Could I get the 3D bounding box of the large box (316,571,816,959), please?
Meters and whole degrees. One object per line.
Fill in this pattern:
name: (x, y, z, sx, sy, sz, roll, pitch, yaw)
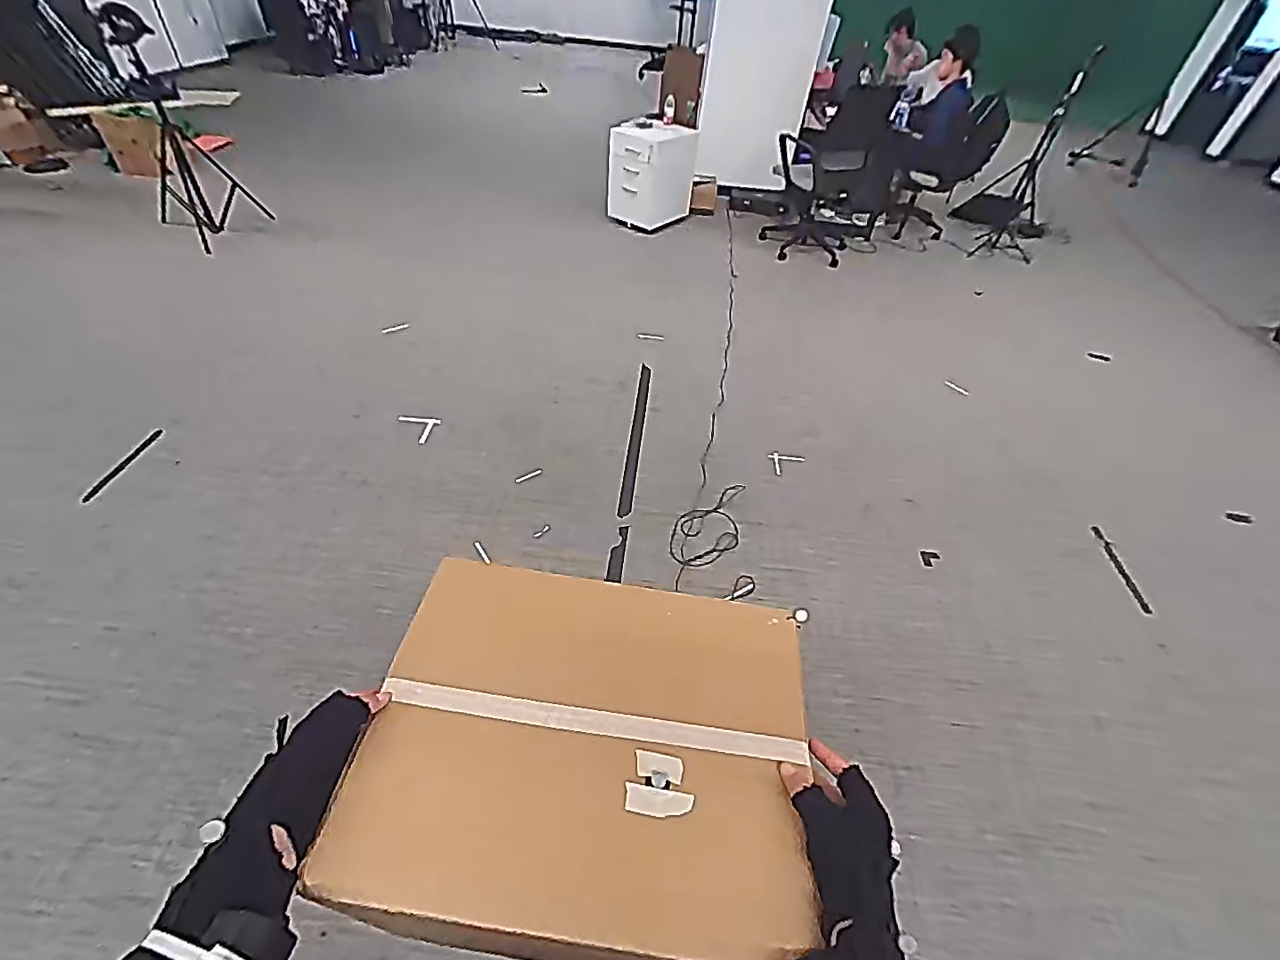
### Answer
large box: (-0.057, 0.342, 0.627, 0.408, 0.320, 0.320, 9, 46, 2)
